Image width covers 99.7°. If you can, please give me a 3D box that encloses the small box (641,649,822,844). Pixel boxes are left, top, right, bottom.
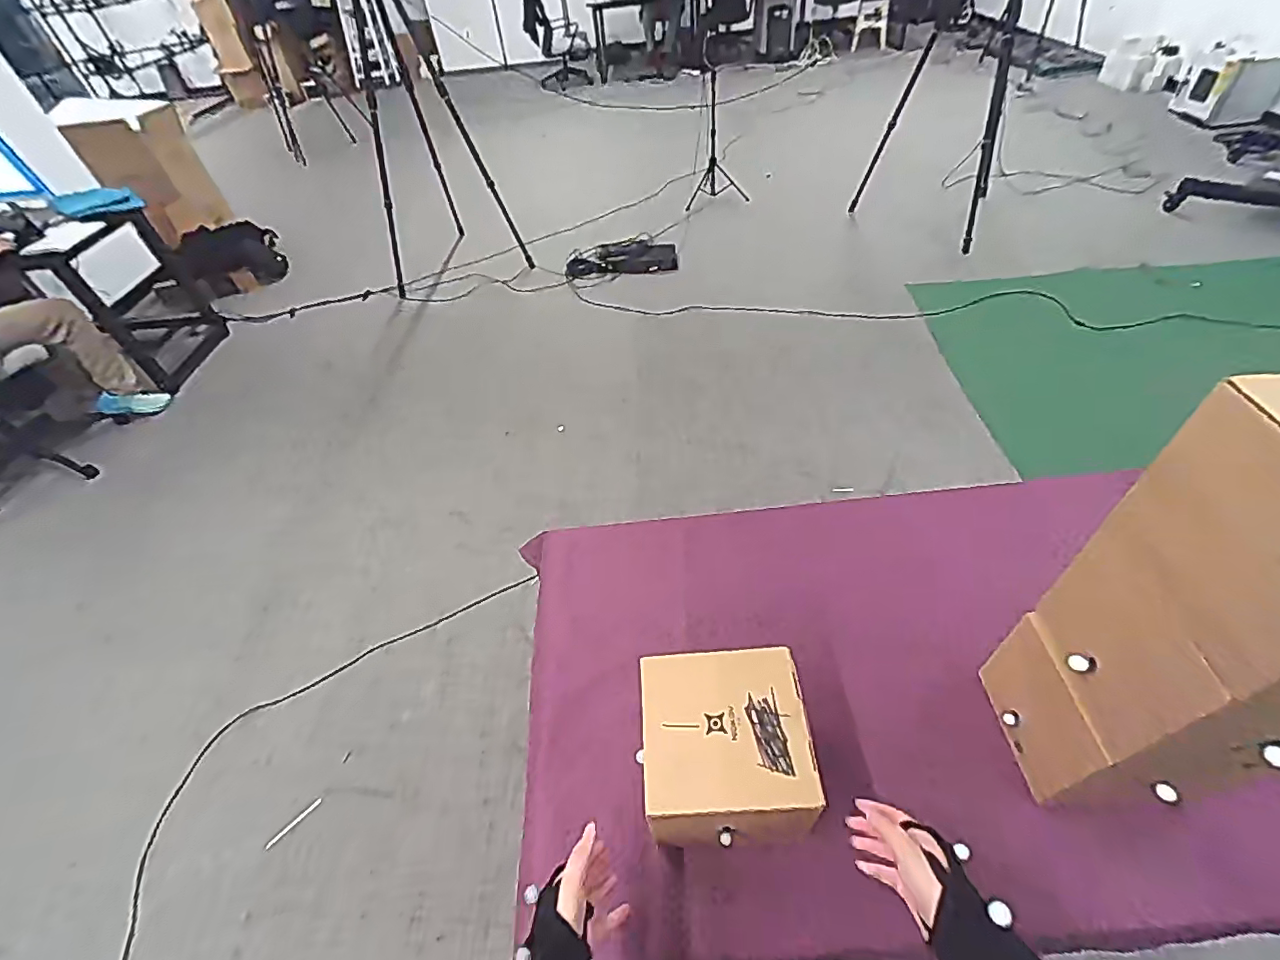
[{"bbox_3d":[0.096,0.316,0.636,0.179,0.176,0.168,-5,47,3],"label":"small box"}]

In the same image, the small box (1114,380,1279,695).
[{"bbox_3d":[0.506,0.044,0.384,0.168,0.176,0.179,-2,46,5],"label":"small box"}]

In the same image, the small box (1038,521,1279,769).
[{"bbox_3d":[0.524,0.155,0.505,0.168,0.176,0.179,-1,48,6],"label":"small box"}]
